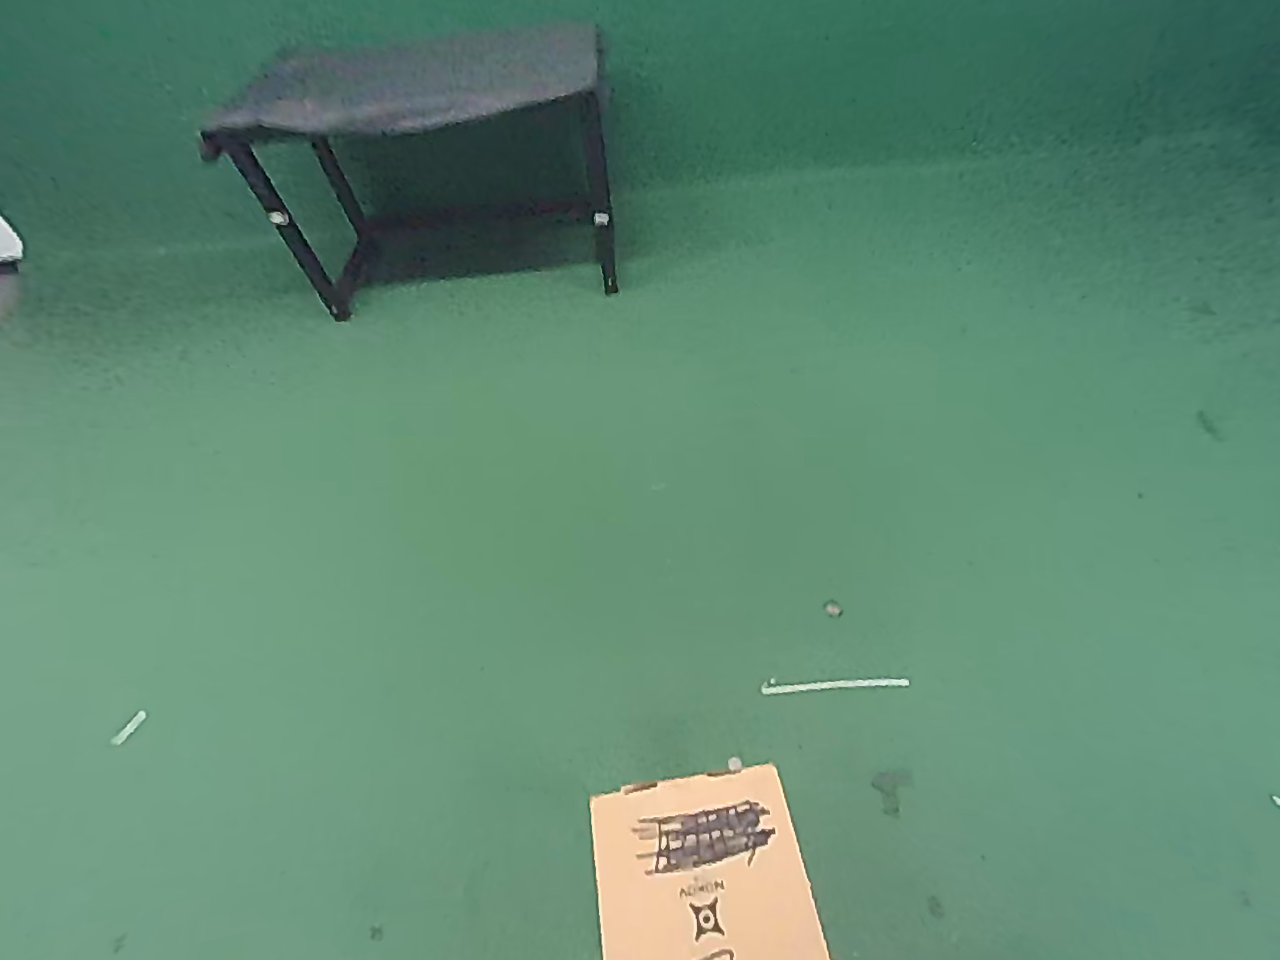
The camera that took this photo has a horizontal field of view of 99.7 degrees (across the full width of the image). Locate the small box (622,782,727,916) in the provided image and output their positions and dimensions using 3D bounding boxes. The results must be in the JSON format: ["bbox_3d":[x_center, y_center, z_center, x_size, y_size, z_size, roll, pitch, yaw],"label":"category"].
[{"bbox_3d":[0.062,0.652,0.954,0.168,0.176,0.179,-6,50,2],"label":"small box"}]
